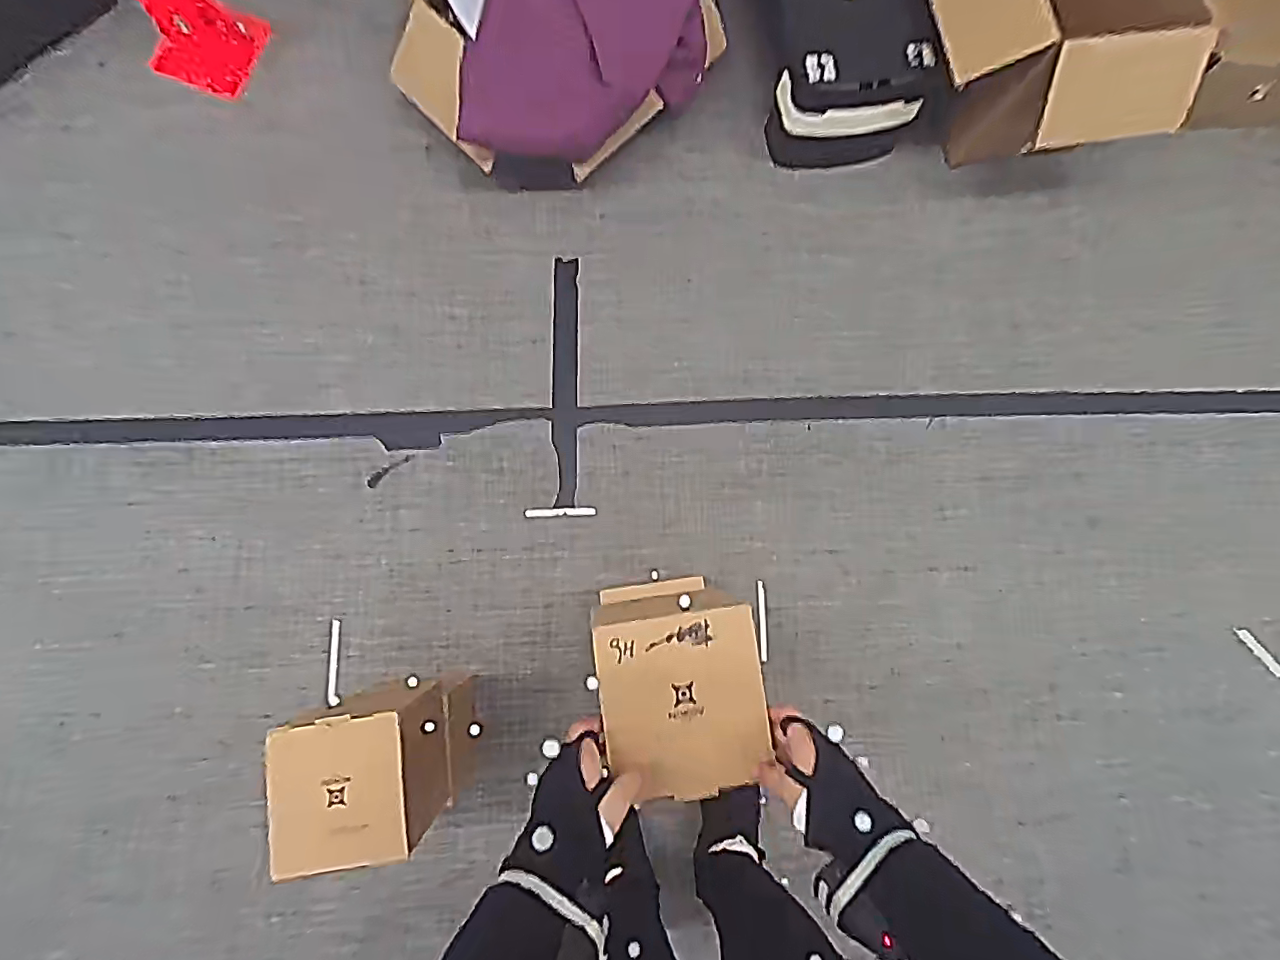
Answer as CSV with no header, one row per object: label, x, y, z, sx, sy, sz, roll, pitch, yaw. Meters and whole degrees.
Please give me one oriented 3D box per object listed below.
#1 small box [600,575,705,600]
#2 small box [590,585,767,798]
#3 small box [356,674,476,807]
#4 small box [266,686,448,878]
small box,0.023,0.260,0.950,0.179,0.176,0.168,-7,82,-4
small box,0.035,0.227,0.625,0.168,0.176,0.179,-7,86,-5
small box,-0.383,0.428,0.901,0.179,0.176,0.168,-4,82,-4
small box,-0.375,0.393,0.742,0.168,0.176,0.179,-8,83,-3
